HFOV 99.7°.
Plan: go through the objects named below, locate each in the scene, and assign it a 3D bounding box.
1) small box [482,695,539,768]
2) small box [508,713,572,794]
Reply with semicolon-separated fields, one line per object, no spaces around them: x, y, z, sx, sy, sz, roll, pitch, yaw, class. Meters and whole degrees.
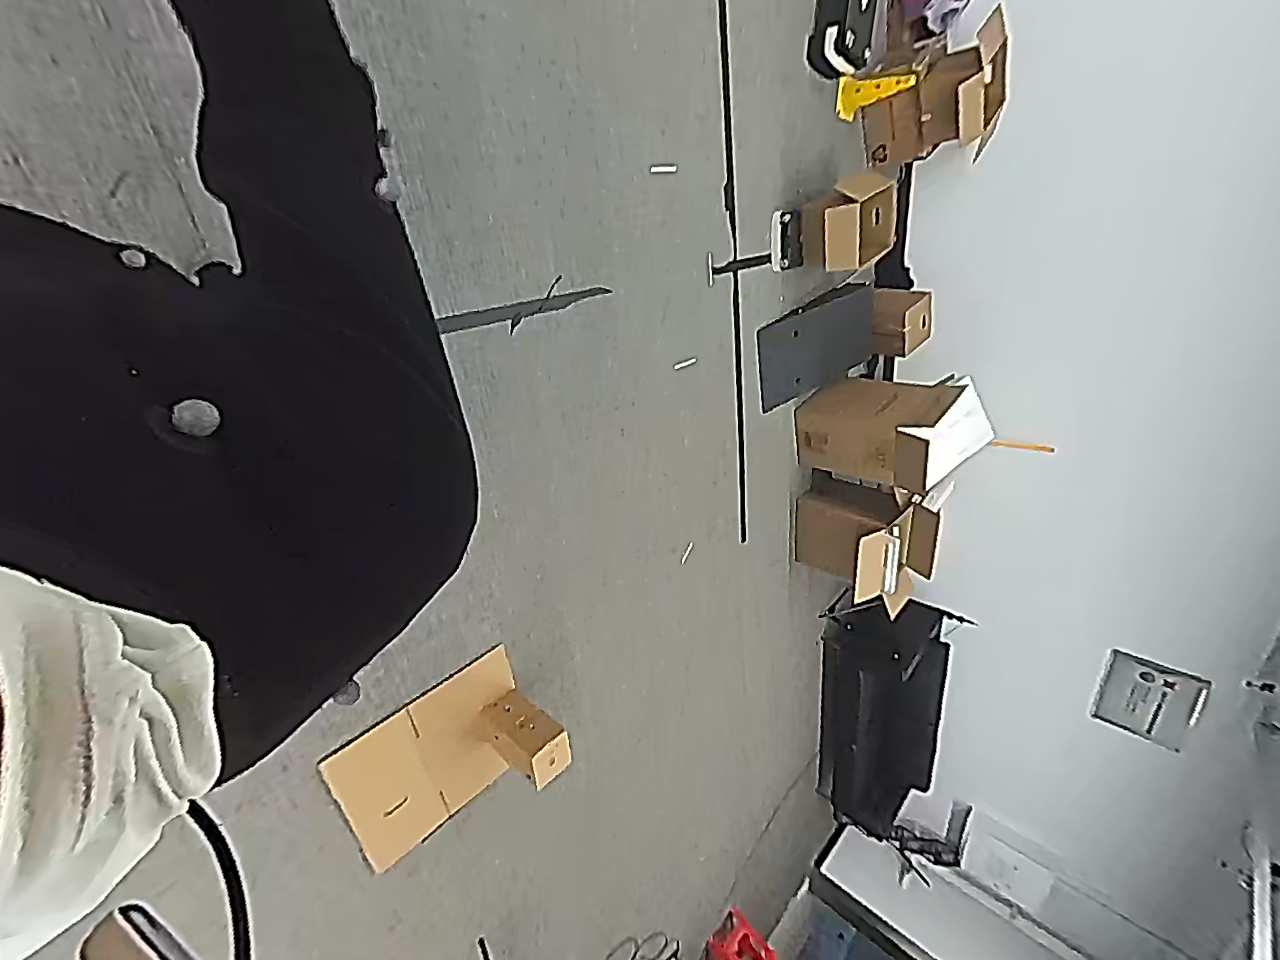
-0.506;0.987;2.148;0.168;0.176;0.179;-26;121;-39;small box
-0.380;1.028;2.048;0.168;0.176;0.179;-26;121;-41;small box
